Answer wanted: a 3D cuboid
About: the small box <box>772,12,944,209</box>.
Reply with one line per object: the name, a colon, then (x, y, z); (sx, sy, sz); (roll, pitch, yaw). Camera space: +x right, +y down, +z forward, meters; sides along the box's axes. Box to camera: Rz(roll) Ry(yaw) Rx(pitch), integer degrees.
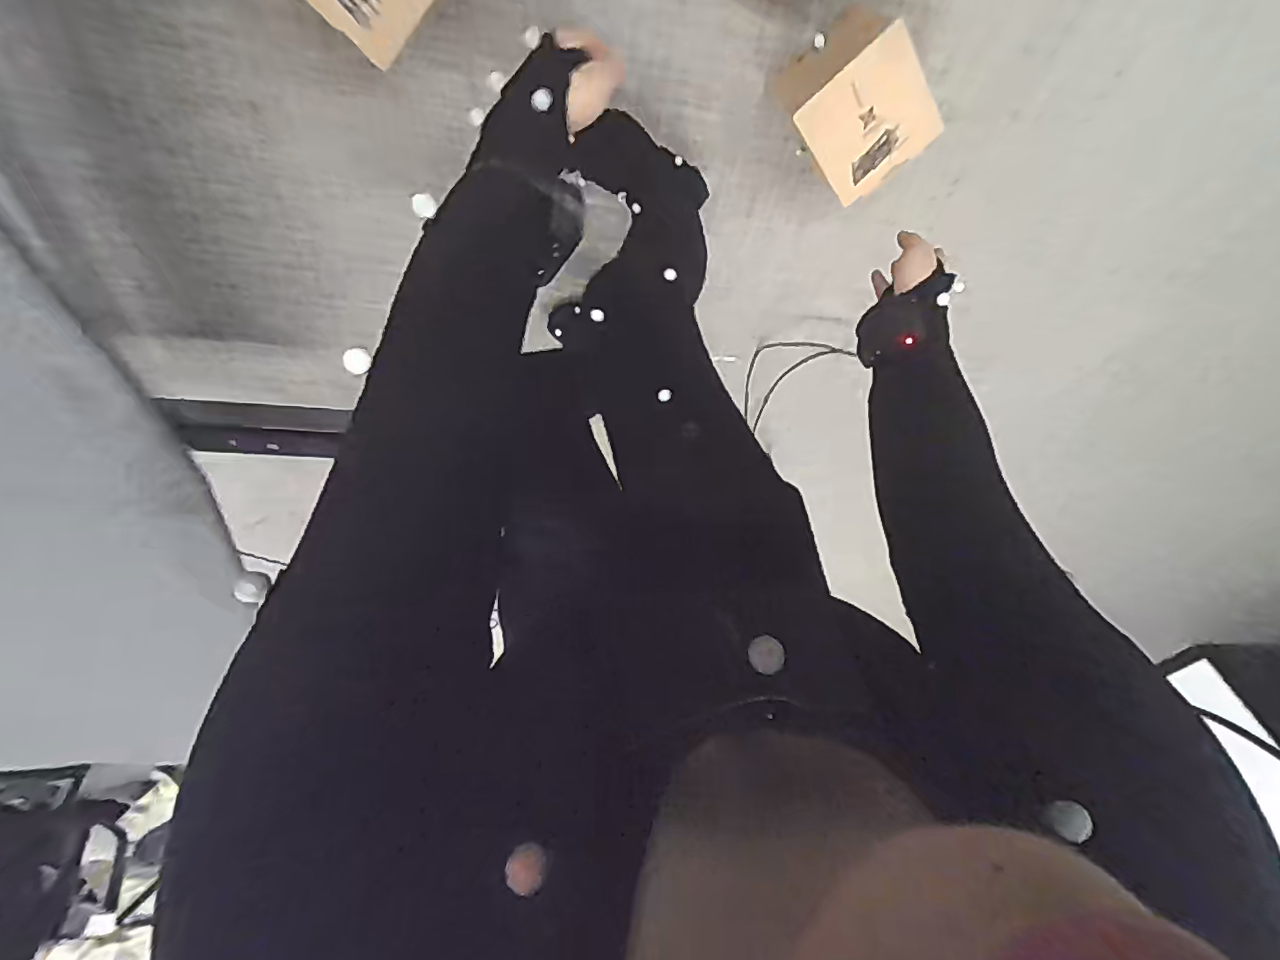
small box: (0.331, -0.574, 0.842); (0.168, 0.176, 0.179); (-33, 131, 26)
